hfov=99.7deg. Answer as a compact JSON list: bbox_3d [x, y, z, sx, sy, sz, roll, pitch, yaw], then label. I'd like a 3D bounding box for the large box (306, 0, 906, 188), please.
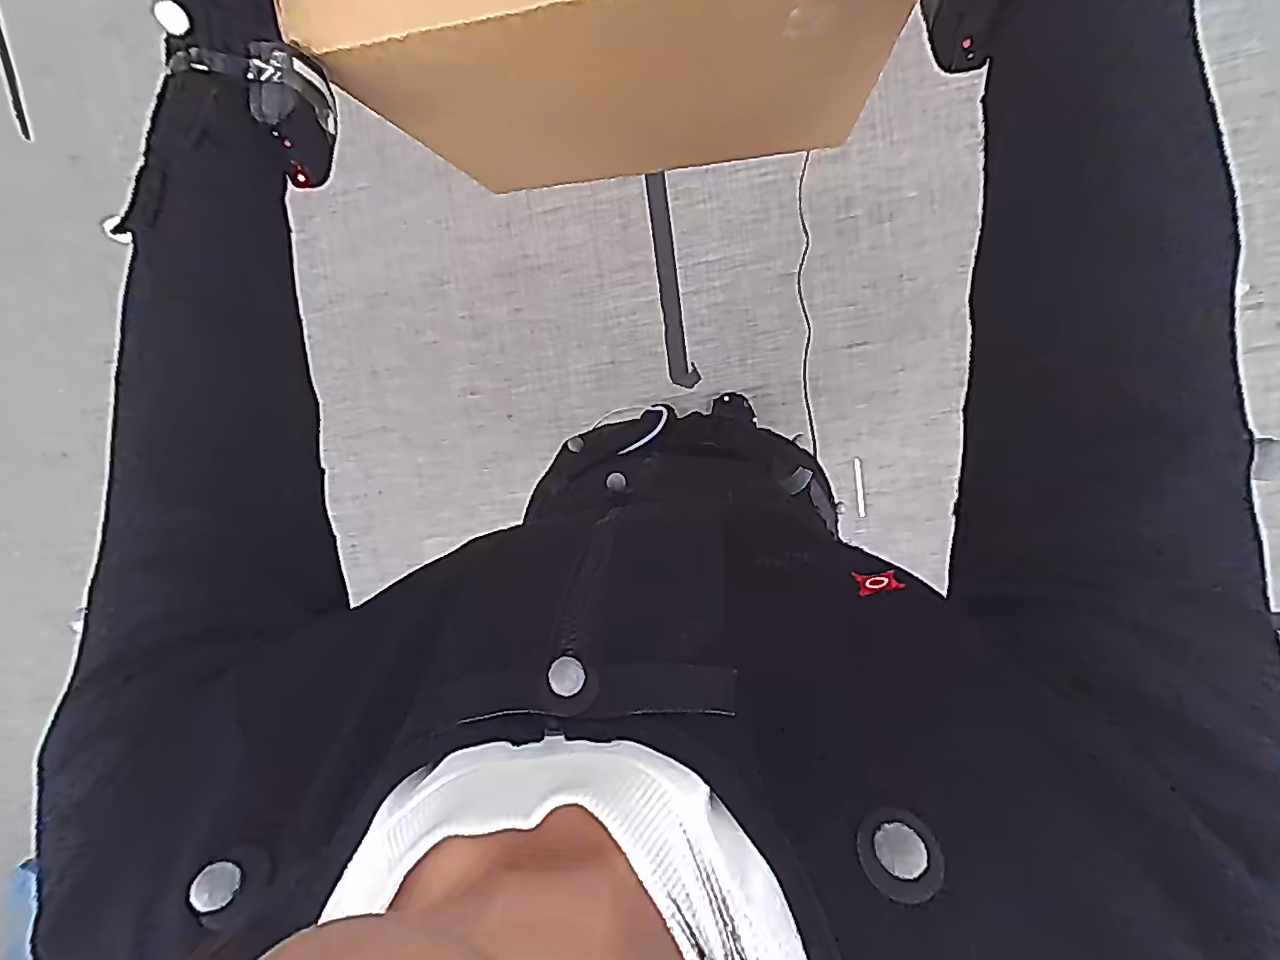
[{"bbox_3d":[-0.014,-0.475,0.439,0.408,0.320,0.320,-3,103,10],"label":"large box"}]
